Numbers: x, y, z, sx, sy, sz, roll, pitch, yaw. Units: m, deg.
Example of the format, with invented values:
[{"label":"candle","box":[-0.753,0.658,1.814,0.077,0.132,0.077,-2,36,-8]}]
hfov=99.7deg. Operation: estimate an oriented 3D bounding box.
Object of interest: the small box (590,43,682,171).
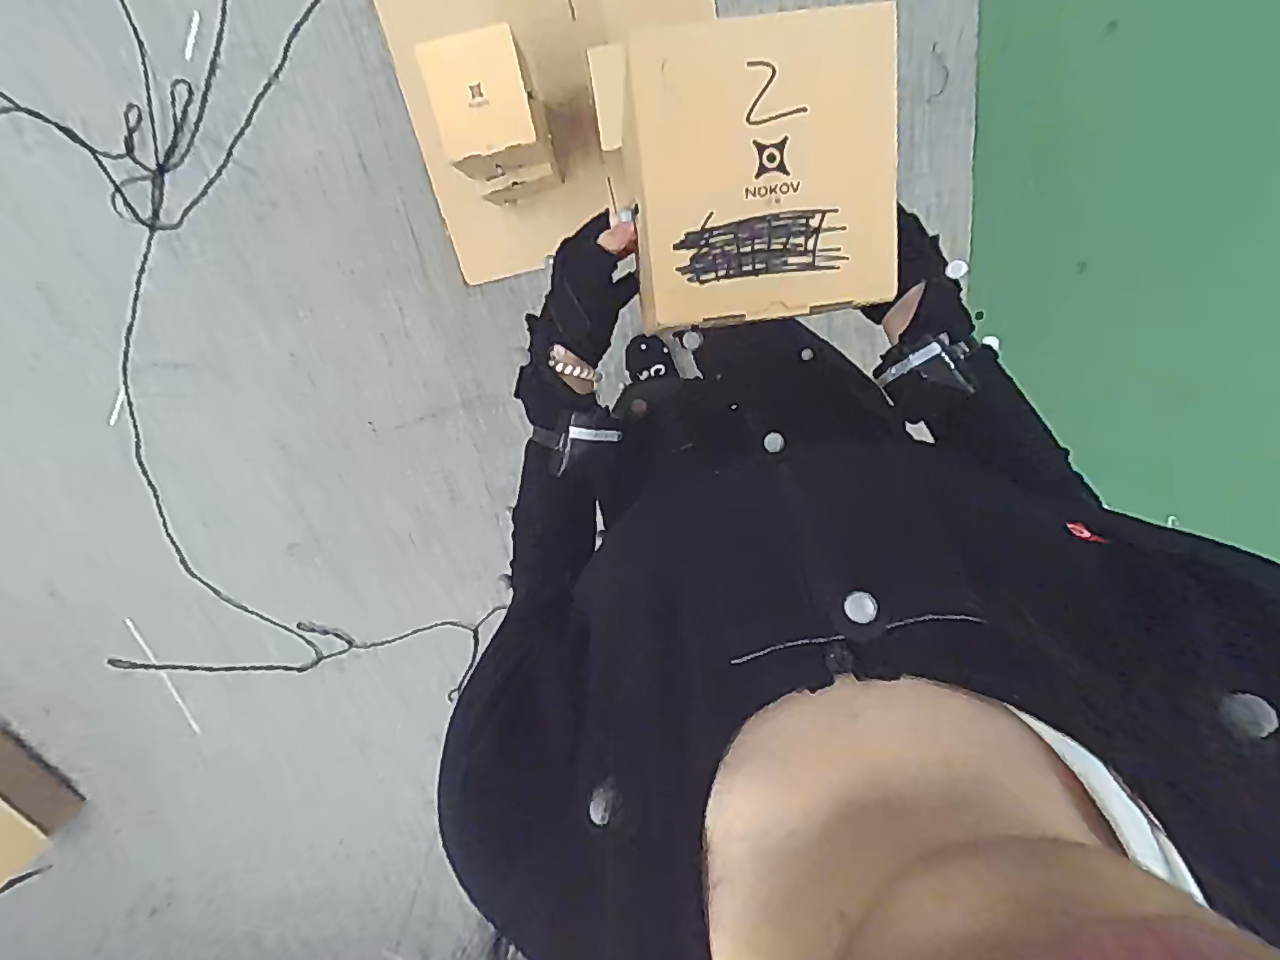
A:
[{"label":"small box","box":[-0.007,-0.772,1.137,0.168,0.176,0.179,-8,111,3]}]

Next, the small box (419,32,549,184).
[{"label":"small box","box":[-0.274,-0.668,0.993,0.168,0.176,0.179,-12,110,3]}]

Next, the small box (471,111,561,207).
[{"label":"small box","box":[-0.276,-0.698,1.155,0.168,0.176,0.179,-14,110,4]}]
